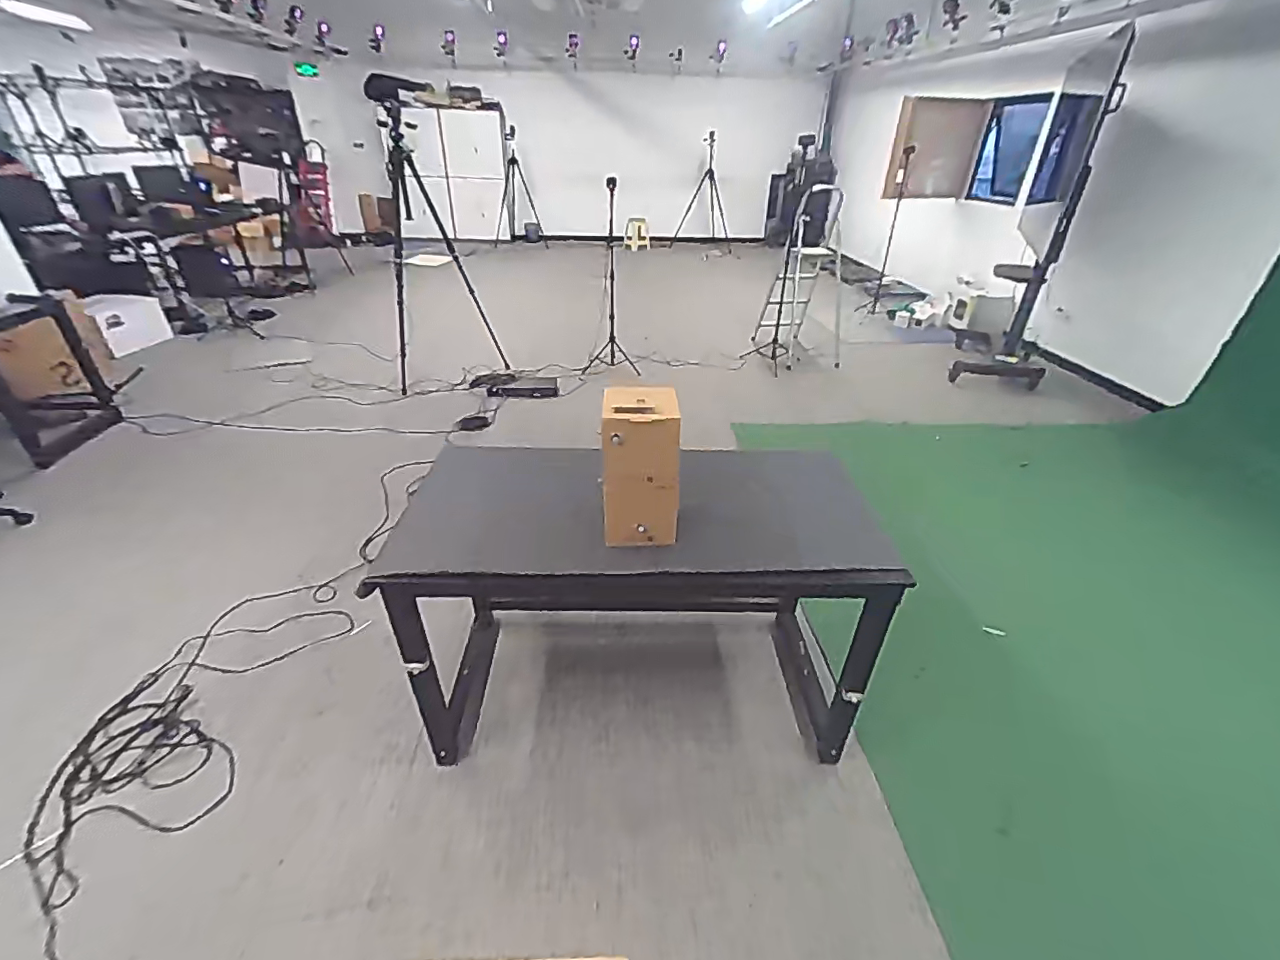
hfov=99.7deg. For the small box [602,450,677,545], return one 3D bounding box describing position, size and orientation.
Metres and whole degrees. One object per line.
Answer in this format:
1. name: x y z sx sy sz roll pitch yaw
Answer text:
1. small box: -0.008 0.039 1.302 0.168 0.176 0.179 -2 31 -5
